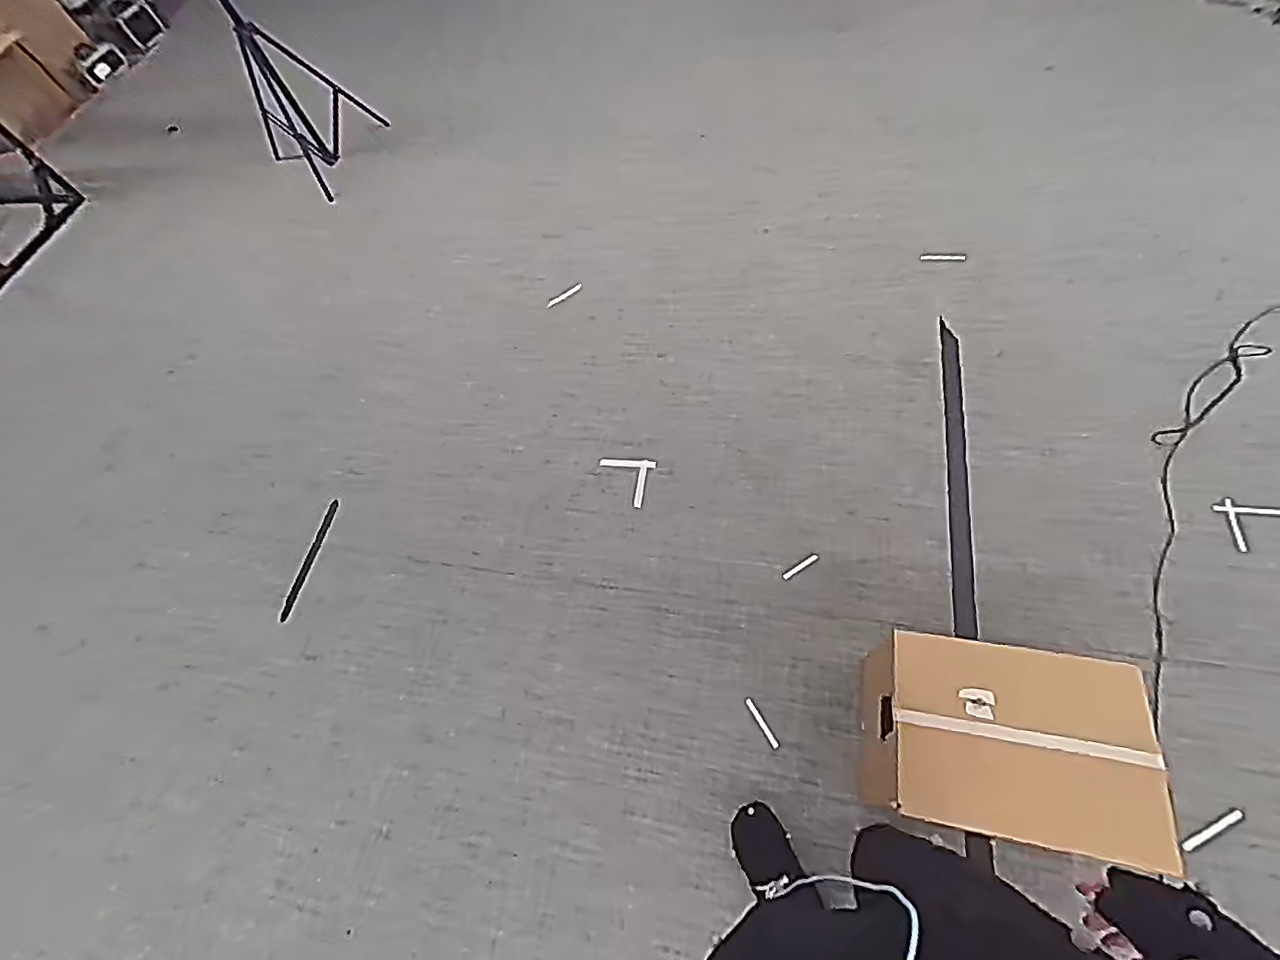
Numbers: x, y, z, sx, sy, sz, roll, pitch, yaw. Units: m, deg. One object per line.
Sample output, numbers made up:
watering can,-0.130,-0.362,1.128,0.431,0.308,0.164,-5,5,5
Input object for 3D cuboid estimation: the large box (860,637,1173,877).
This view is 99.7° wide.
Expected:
large box,0.665,0.517,1.049,0.408,0.320,0.320,5,62,15
